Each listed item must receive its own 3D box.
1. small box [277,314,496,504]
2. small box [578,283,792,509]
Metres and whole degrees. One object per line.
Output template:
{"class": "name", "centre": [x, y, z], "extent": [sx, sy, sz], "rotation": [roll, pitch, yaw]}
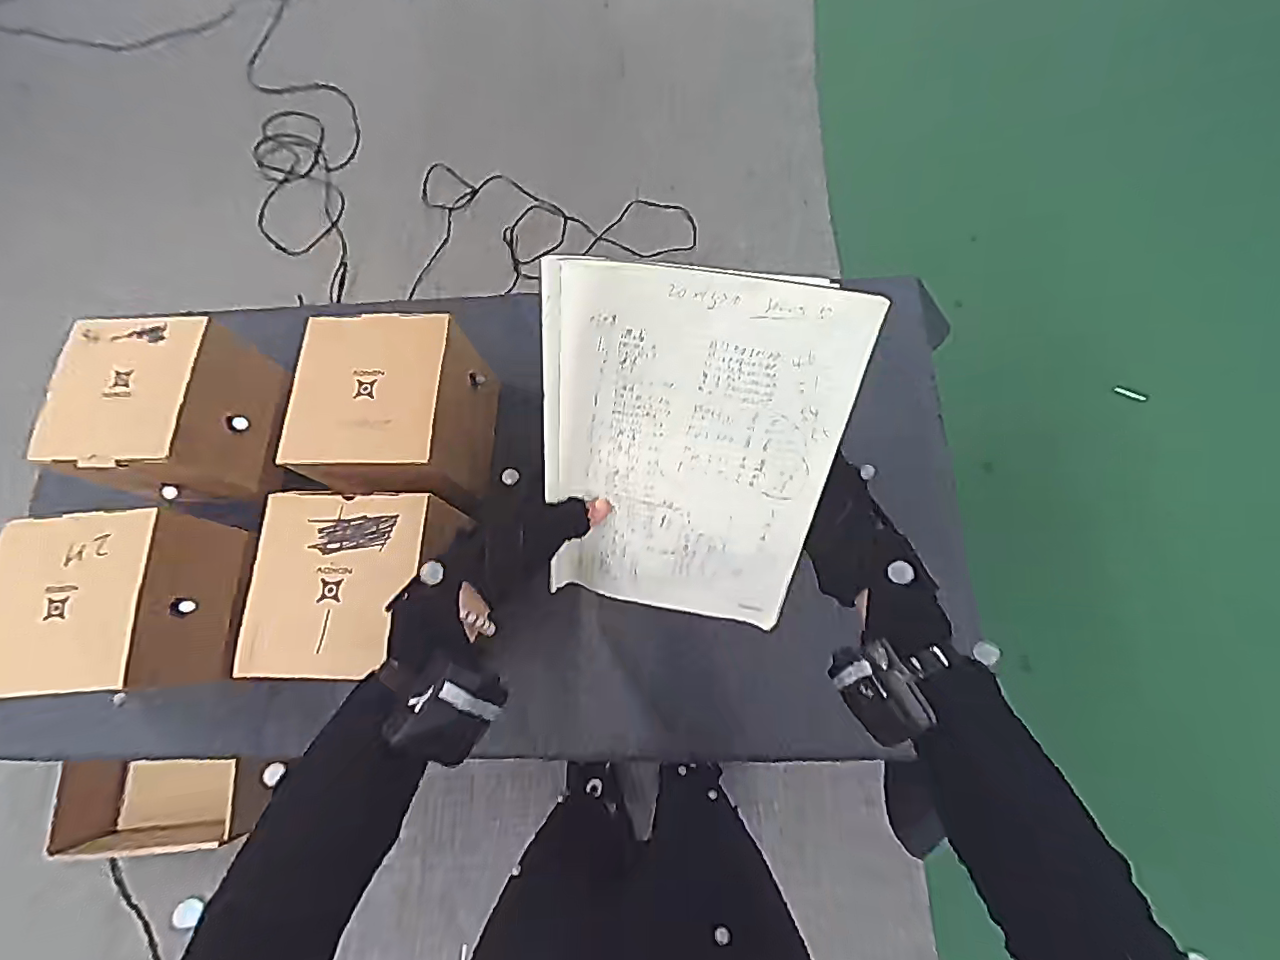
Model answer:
{"class": "small box", "centre": [-0.284, -0.078, 0.650], "extent": [0.168, 0.176, 0.179], "rotation": [1, 74, 5]}
{"class": "small box", "centre": [0.042, -0.068, 0.532], "extent": [0.179, 0.176, 0.168], "rotation": [-4, 76, 7]}
